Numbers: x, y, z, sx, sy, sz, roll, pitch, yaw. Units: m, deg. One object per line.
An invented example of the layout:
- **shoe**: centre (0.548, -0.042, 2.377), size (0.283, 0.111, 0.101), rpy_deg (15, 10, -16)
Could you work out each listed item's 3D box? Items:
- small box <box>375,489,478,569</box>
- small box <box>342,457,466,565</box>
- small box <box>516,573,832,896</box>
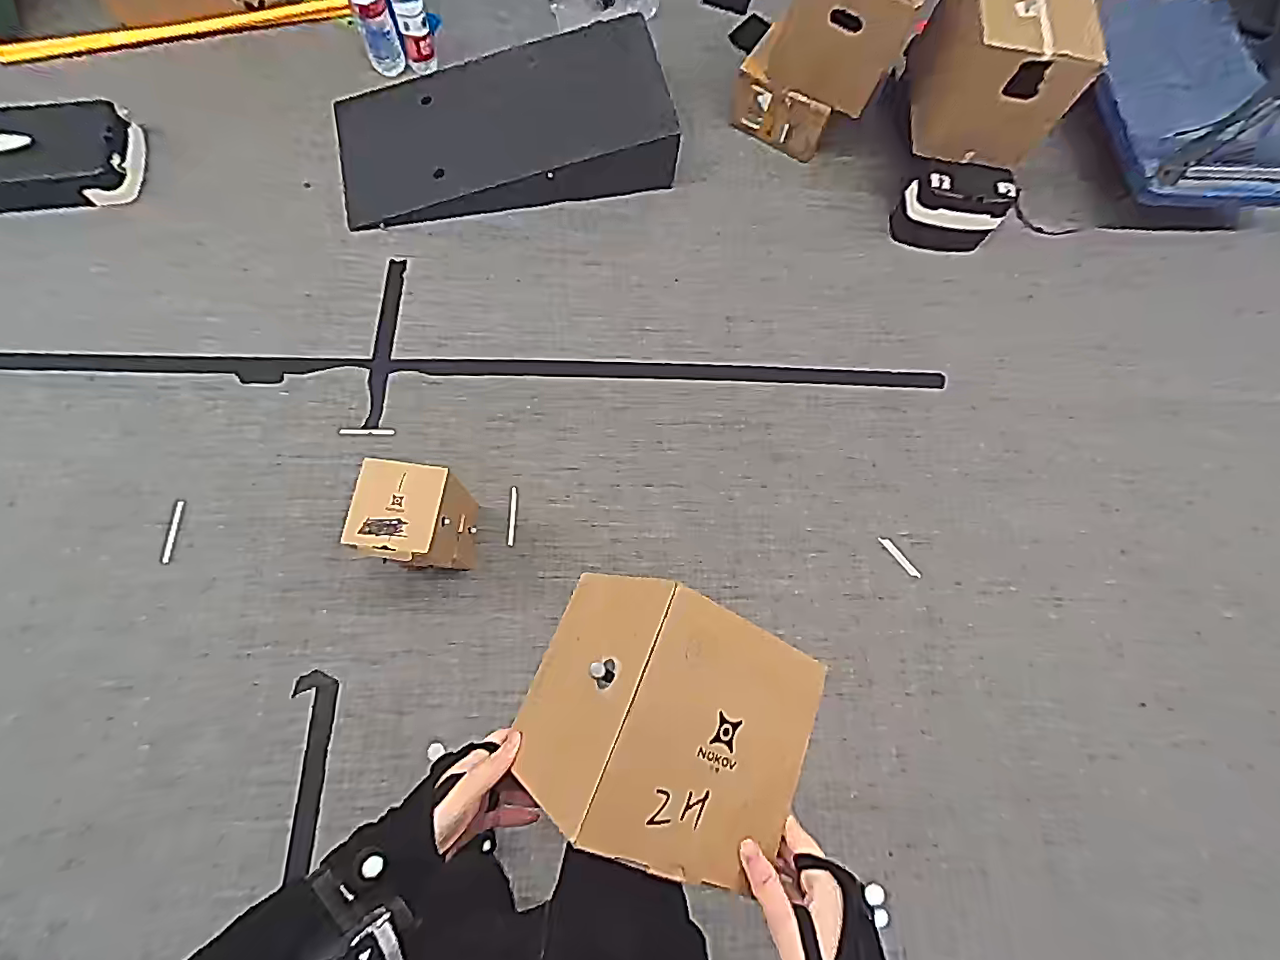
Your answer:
- **small box**: centre (-0.485, 0.113, 1.261), size (0.179, 0.176, 0.168), rpy_deg (4, 73, -5)
- **small box**: centre (-0.468, 0.071, 1.102), size (0.168, 0.176, 0.179), rpy_deg (8, 72, -3)
- **small box**: centre (0.021, 0.188, 0.447), size (0.168, 0.176, 0.179), rpy_deg (33, 68, -22)
